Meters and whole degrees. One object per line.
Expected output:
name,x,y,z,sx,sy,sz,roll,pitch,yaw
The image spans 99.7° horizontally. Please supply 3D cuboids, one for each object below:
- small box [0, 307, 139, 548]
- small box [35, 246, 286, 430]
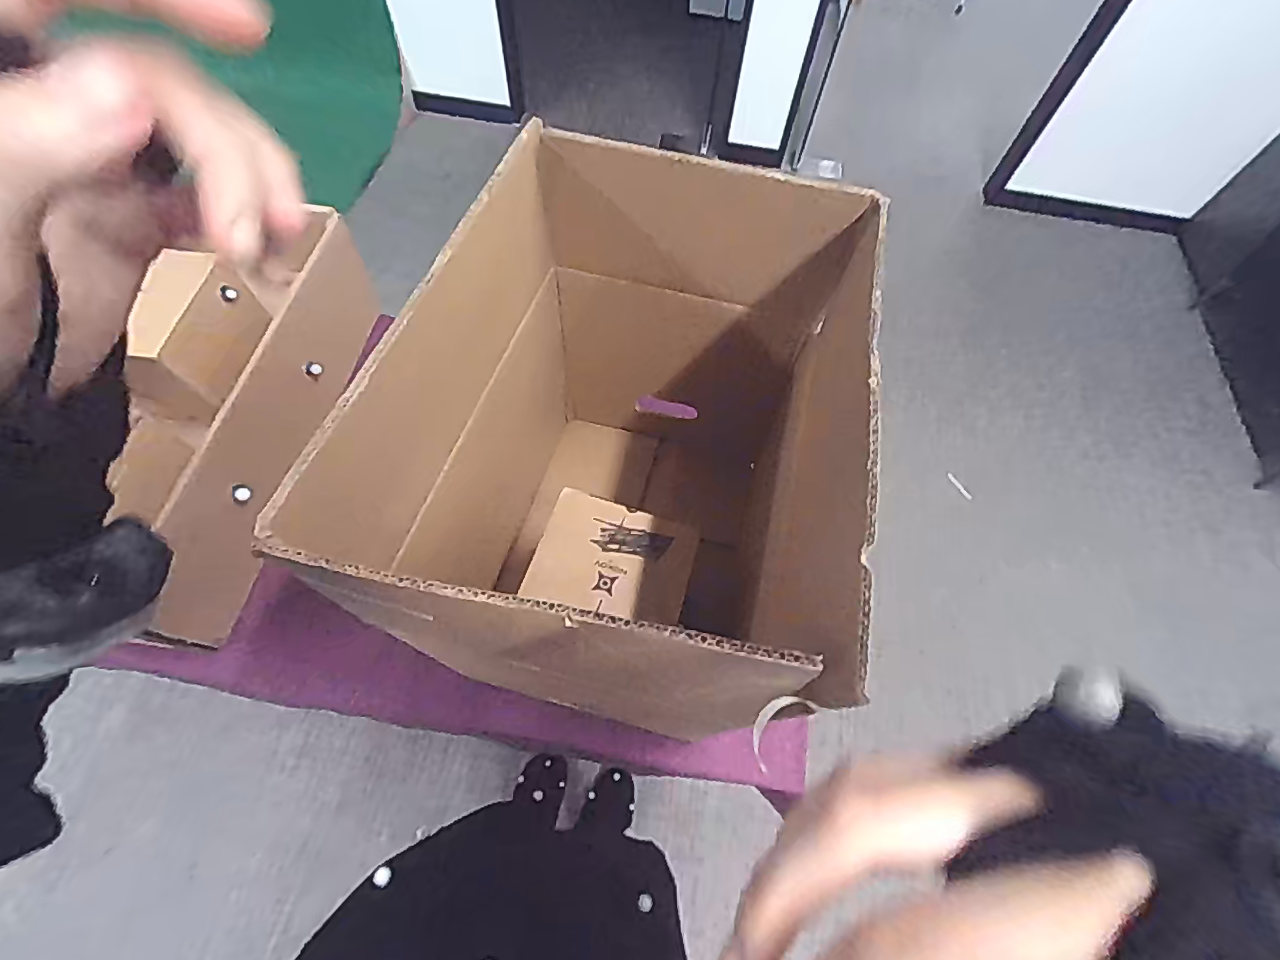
small box,-0.627,-0.051,0.477,0.179,0.176,0.168,8,62,2
small box,-0.629,-0.185,0.737,0.168,0.176,0.179,5,62,1
